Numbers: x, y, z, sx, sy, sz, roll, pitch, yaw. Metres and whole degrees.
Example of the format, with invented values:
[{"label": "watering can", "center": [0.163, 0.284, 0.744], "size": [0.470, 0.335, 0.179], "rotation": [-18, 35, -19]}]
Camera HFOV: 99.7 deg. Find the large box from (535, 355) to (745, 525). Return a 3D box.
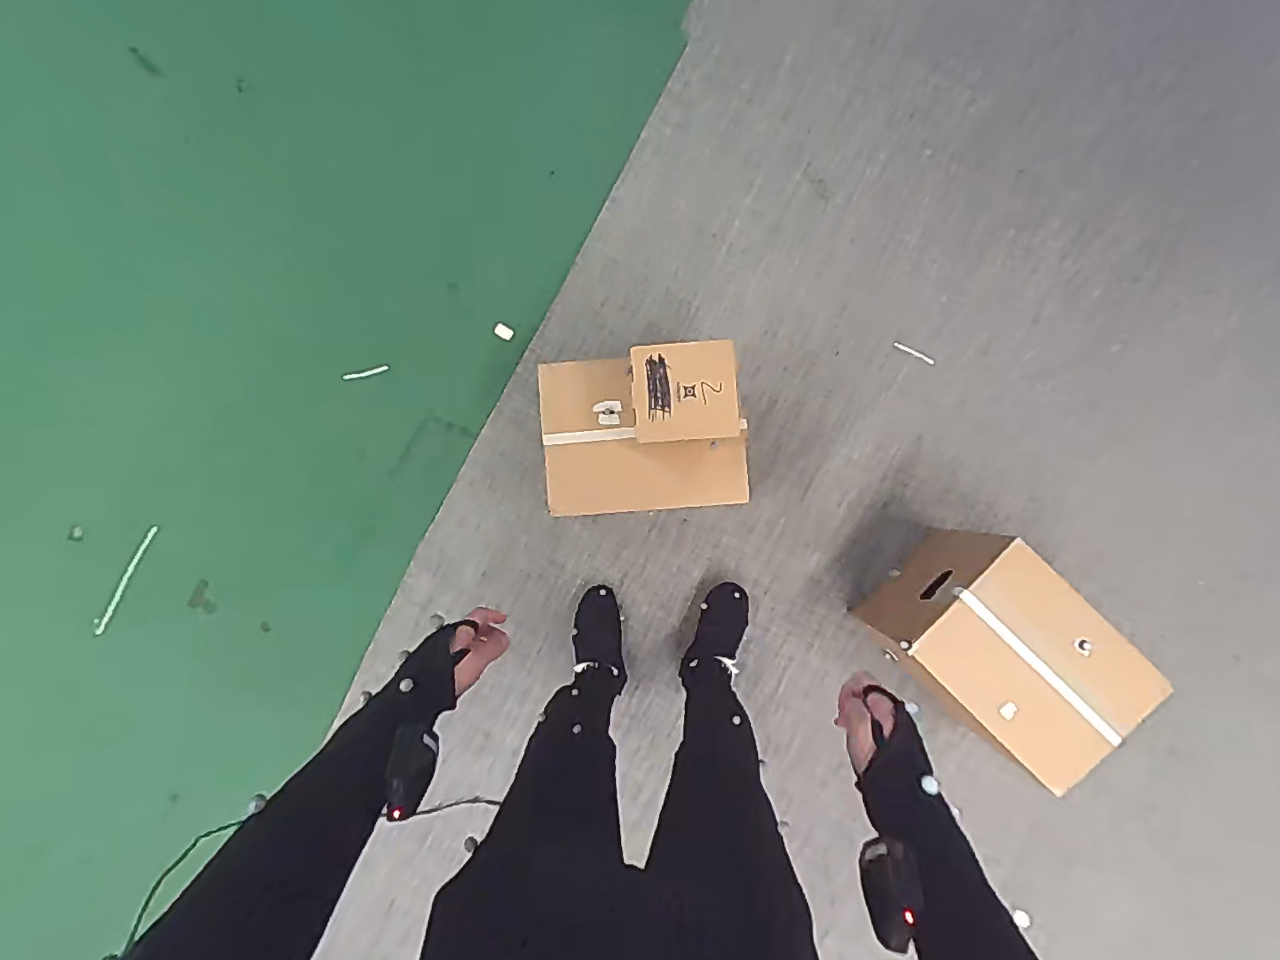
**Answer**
[{"label": "large box", "center": [0.005, -0.075, 1.225], "size": [0.408, 0.320, 0.320], "rotation": [-5, 87, 2]}]
